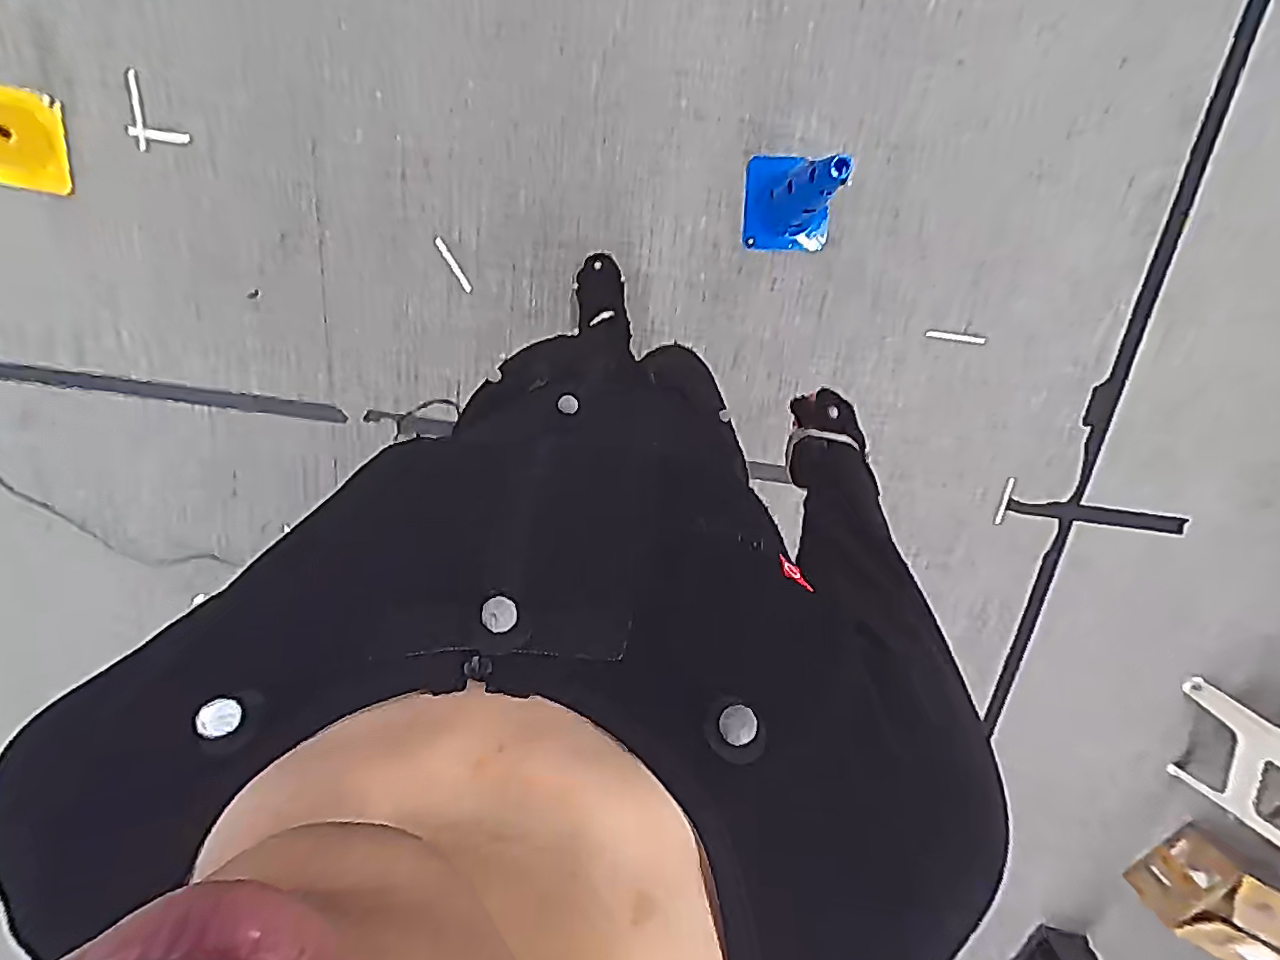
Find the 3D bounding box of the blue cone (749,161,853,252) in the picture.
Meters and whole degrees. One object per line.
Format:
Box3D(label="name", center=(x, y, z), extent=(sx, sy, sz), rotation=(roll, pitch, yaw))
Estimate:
Box3D(label="blue cone", center=(0.352, -0.588, 1.108), extent=(0.193, 0.380, 0.192), rotation=(2, 108, -1))
